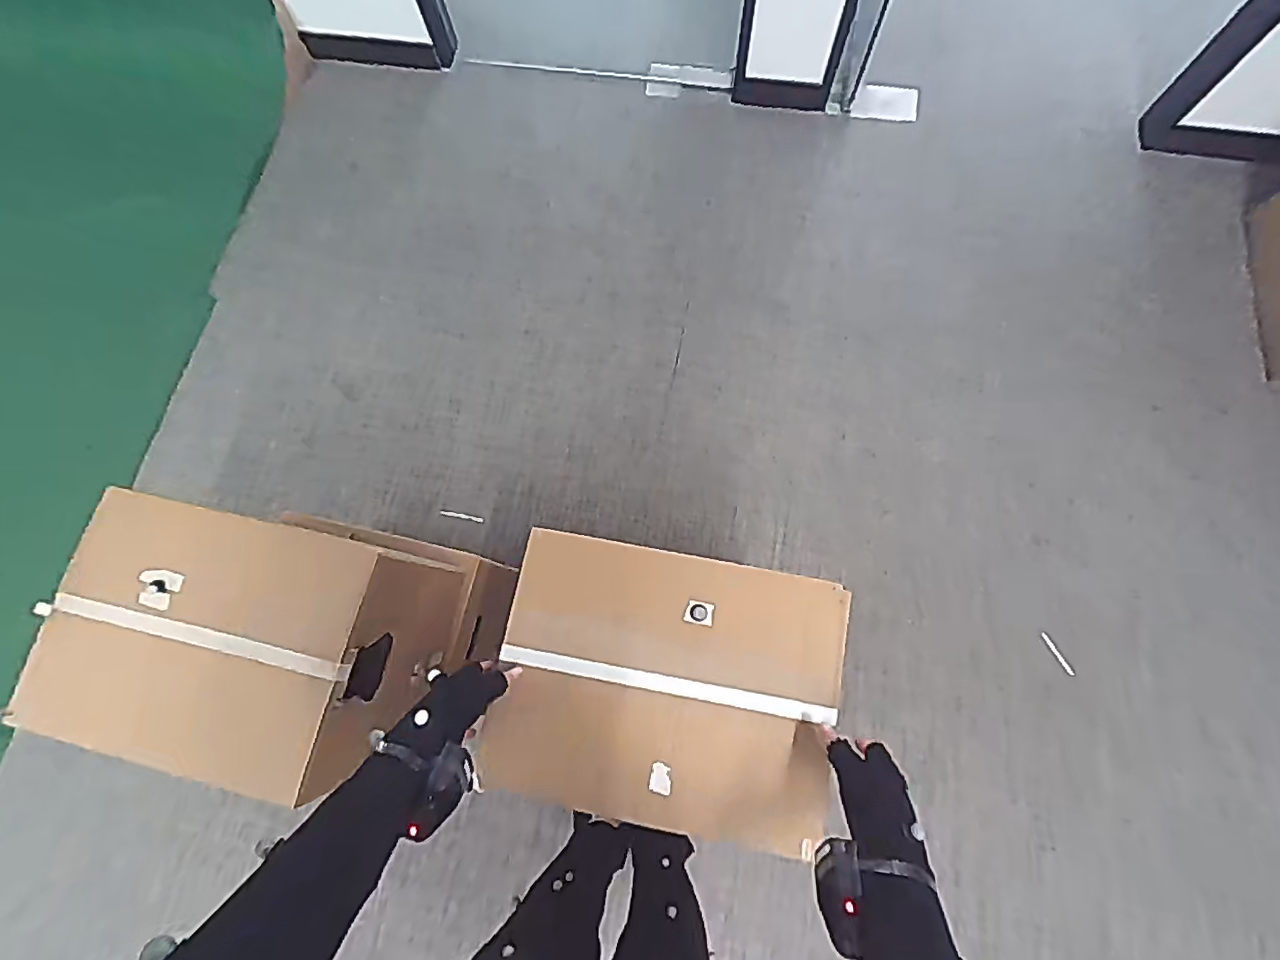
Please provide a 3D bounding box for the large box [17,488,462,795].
[{"bbox_3d":[-0.553,0.225,0.835,0.408,0.320,0.320,12,77,7],"label":"large box"}]
